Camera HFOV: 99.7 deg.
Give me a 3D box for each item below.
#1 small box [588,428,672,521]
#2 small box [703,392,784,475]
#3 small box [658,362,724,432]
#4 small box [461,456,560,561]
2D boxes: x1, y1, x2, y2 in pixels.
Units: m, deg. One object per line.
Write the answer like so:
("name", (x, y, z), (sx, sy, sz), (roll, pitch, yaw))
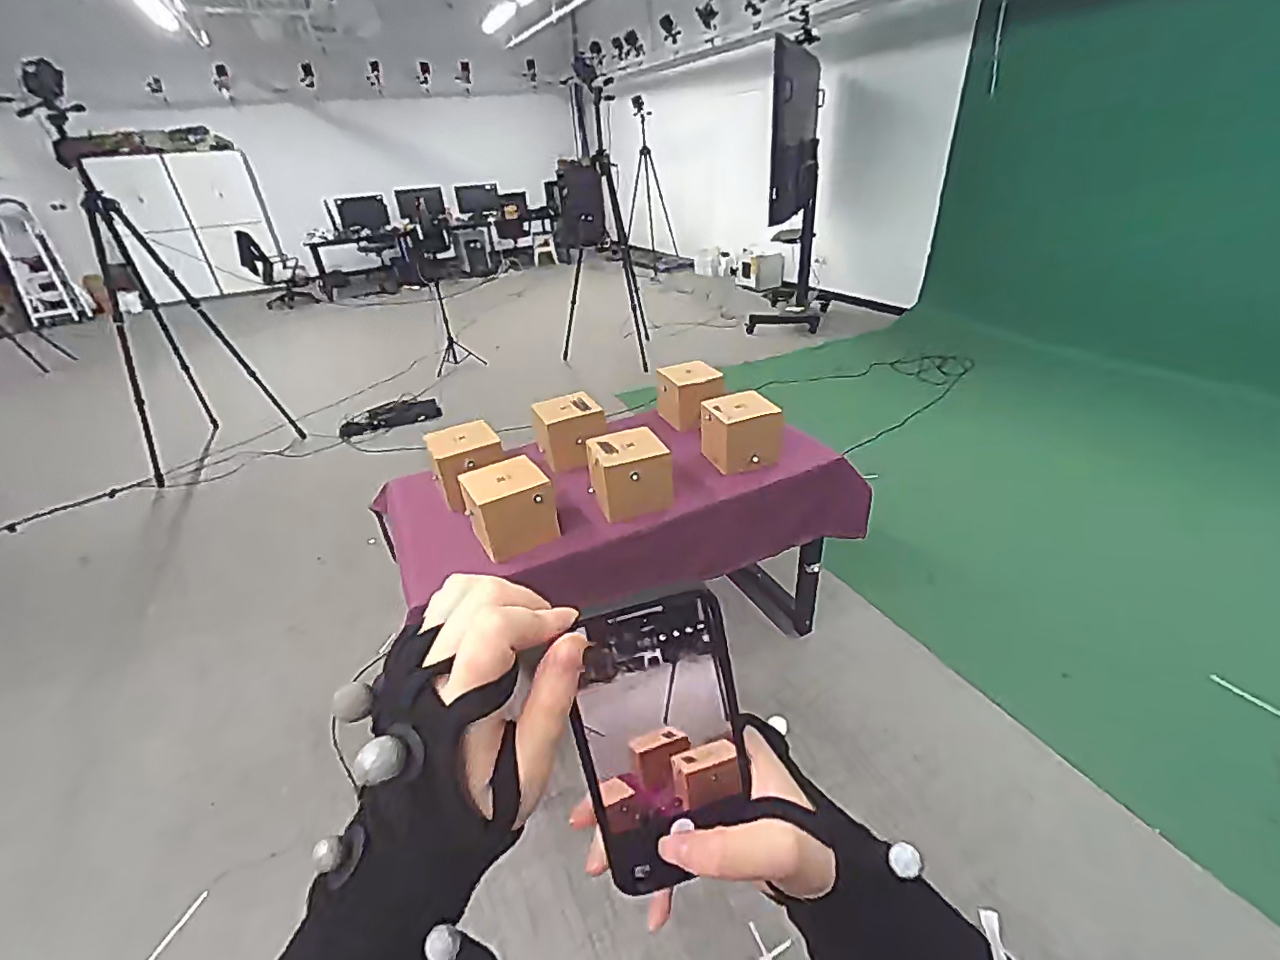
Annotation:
("small box", (-0.025, -0.014, 1.409), (0.179, 0.176, 0.168), (-13, 33, -16))
("small box", (0.291, -0.134, 1.562), (0.179, 0.176, 0.168), (-13, 32, -14))
("small box", (0.168, -0.279, 1.812), (0.168, 0.176, 0.179), (-16, 34, -17))
("small box", (-0.312, 0.069, 1.313), (0.179, 0.176, 0.168), (-20, 34, -26))
